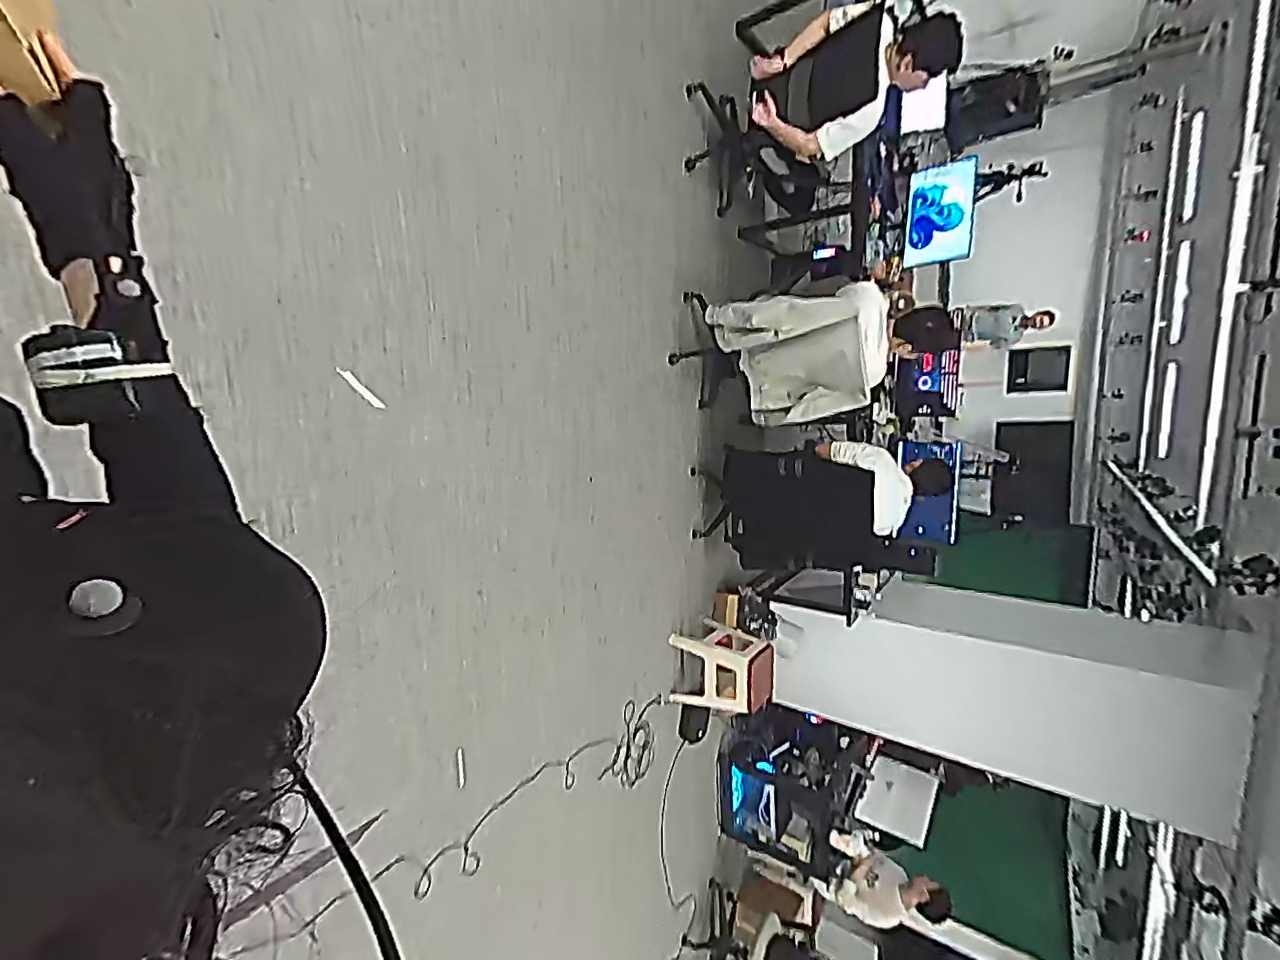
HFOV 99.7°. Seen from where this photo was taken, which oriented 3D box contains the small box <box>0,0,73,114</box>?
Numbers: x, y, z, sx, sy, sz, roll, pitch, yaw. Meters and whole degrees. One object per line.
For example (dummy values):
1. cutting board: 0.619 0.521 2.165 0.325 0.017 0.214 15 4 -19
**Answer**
1. small box: -0.492 -0.346 0.304 0.179 0.168 0.176 -18 76 -26
